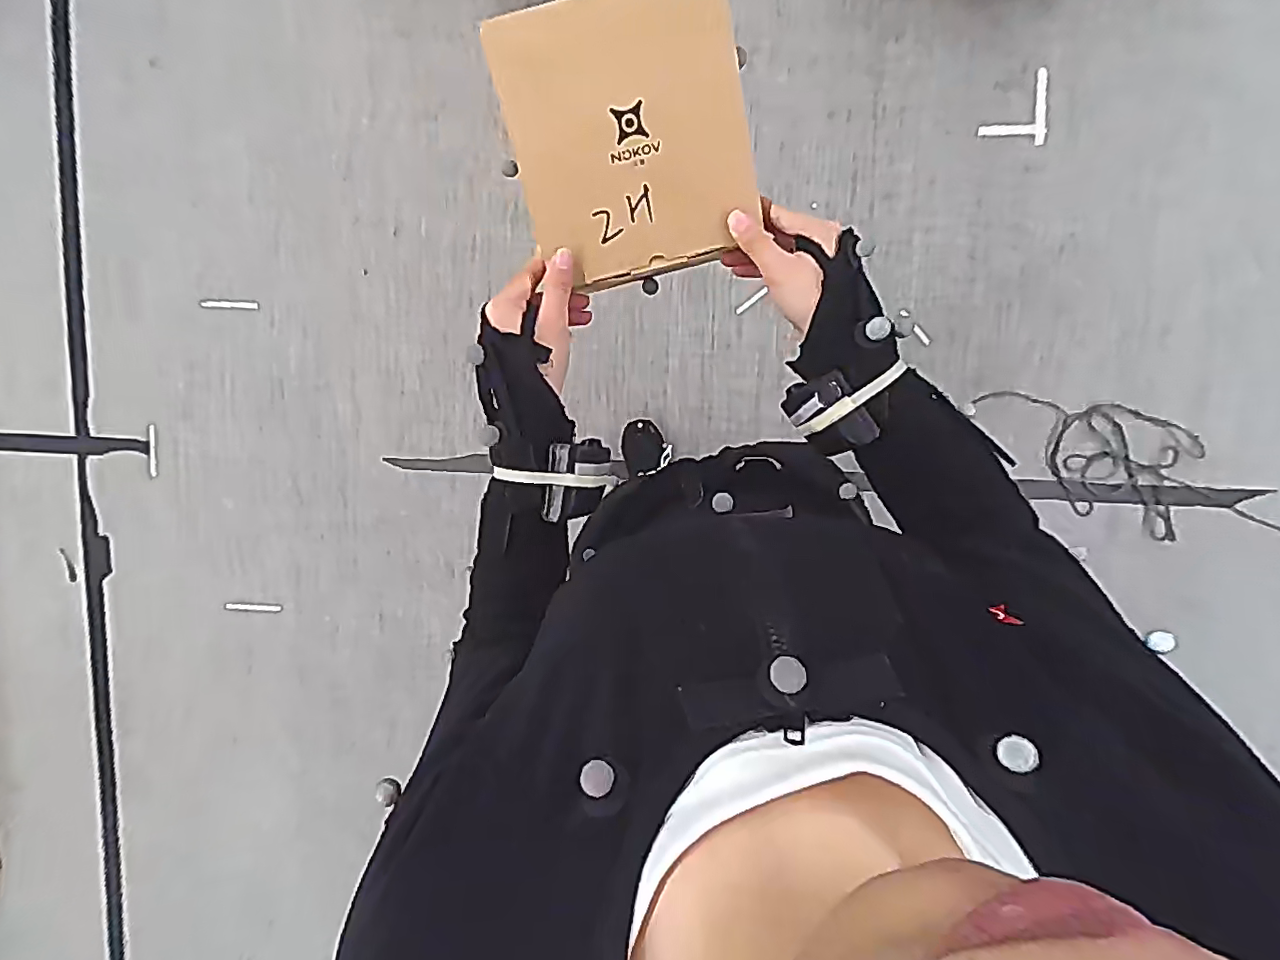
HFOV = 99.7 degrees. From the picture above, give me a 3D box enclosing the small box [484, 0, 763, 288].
[{"bbox_3d":[-0.011,-0.270,0.451,0.168,0.176,0.179,-14,108,1],"label":"small box"}]
